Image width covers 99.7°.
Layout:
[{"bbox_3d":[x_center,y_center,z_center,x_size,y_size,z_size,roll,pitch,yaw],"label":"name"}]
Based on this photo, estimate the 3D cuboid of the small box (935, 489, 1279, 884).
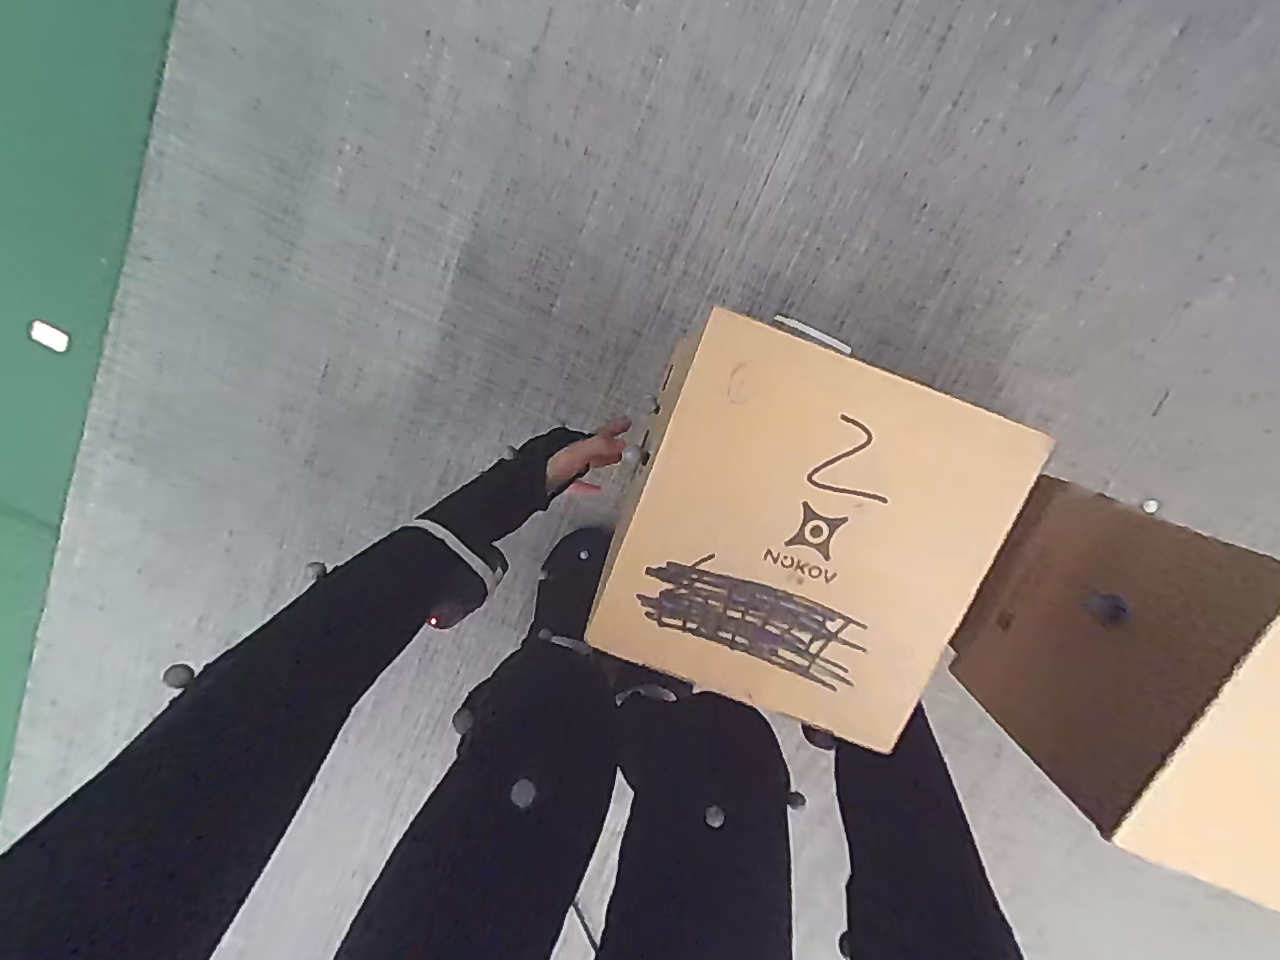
[{"bbox_3d":[0.346,0.118,0.366,0.179,0.176,0.168,23,102,-4],"label":"small box"}]
